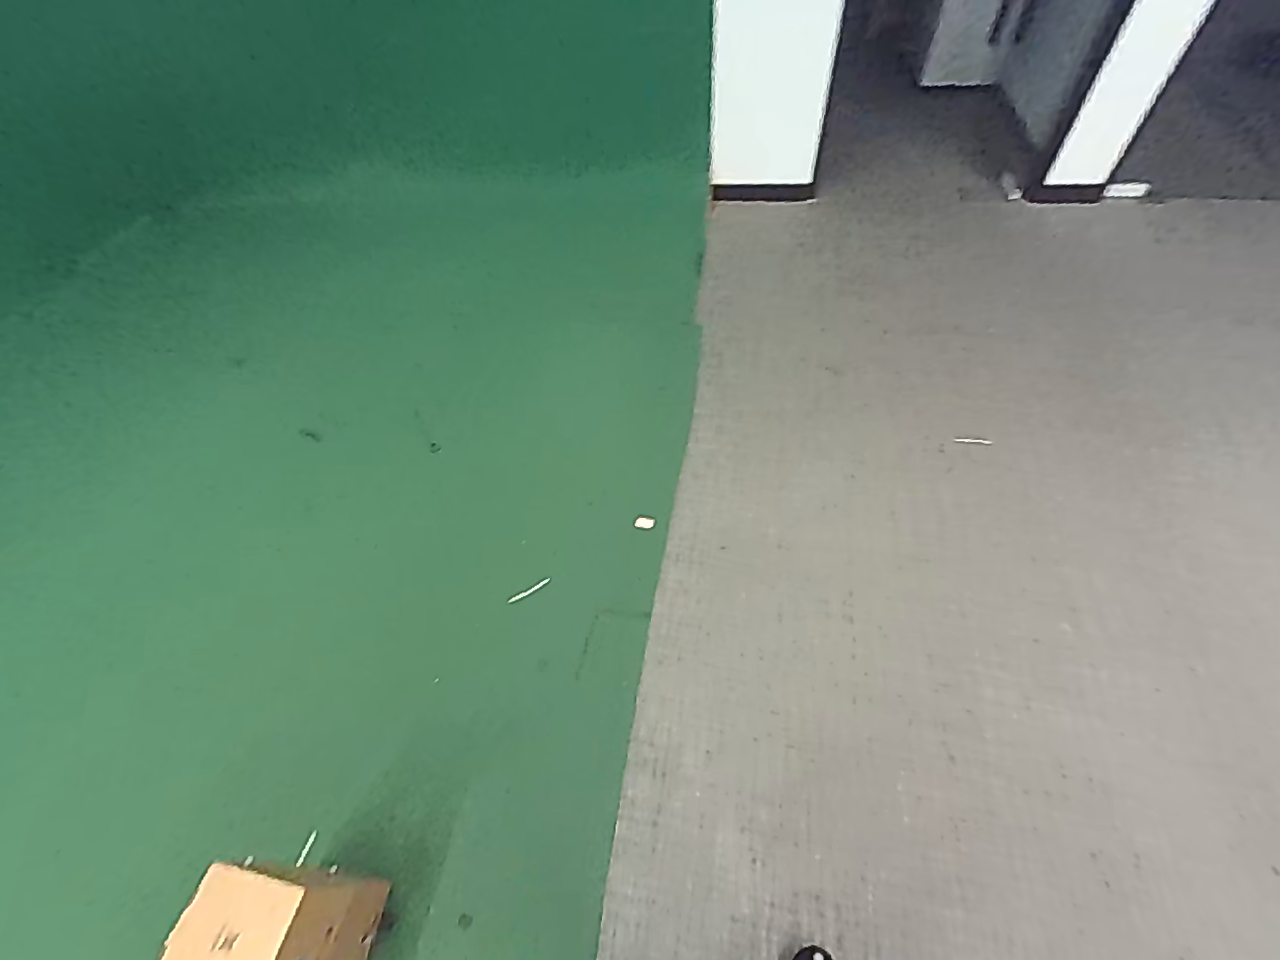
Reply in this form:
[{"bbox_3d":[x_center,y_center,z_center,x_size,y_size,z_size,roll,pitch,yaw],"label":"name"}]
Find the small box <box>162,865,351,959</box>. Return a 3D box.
[{"bbox_3d":[-0.609,0.735,0.868,0.179,0.176,0.168,7,55,10],"label":"small box"}]
